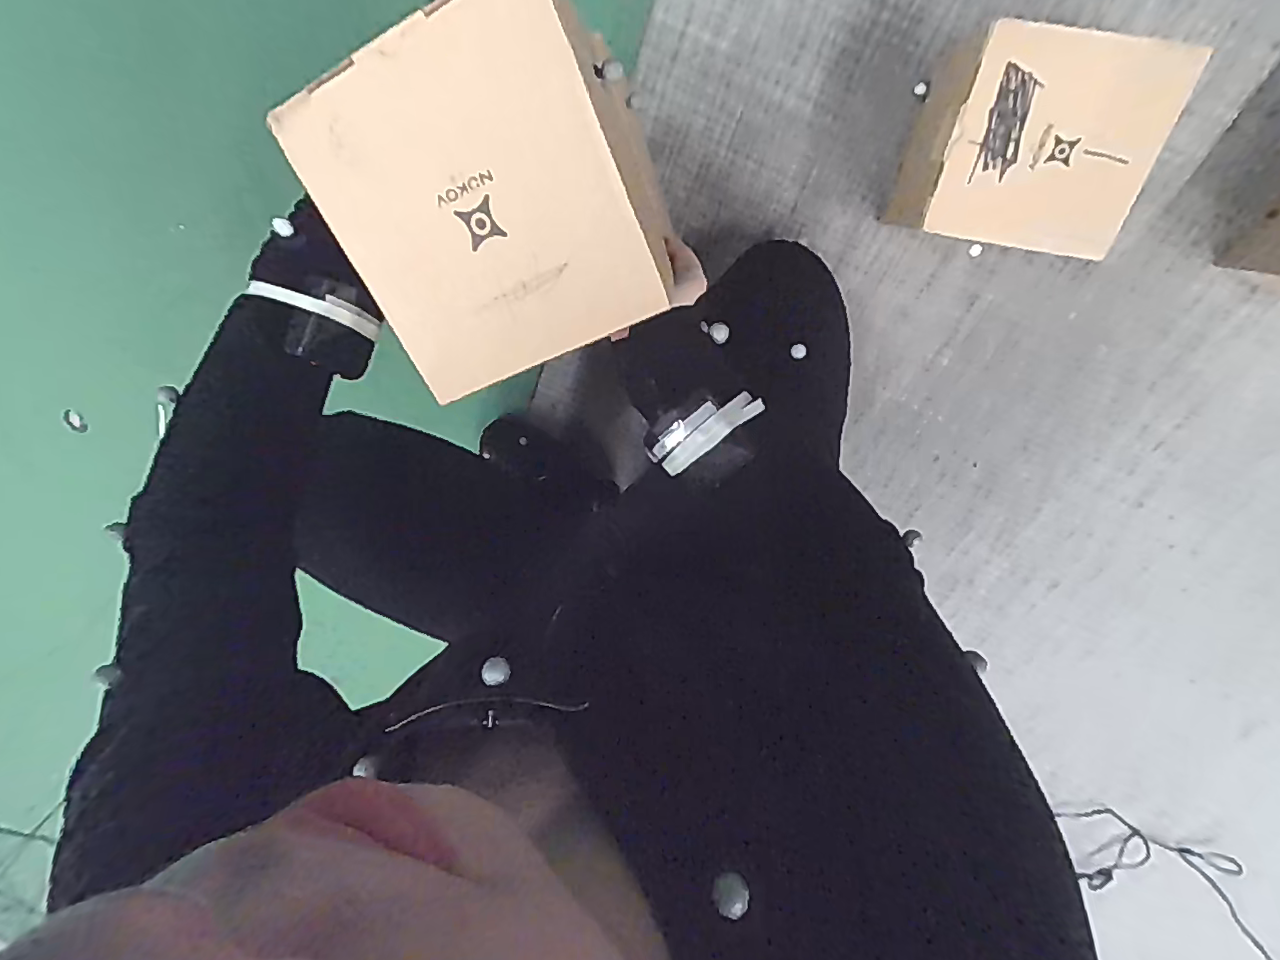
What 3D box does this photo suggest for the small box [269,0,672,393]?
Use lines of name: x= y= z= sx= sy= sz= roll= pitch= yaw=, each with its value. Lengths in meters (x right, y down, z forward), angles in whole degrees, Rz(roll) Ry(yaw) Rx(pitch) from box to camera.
small box: x=-0.084 y=-0.187 z=0.368 sx=0.168 sy=0.176 sz=0.179 roll=-18 pitch=115 yaw=14

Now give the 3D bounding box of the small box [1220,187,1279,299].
small box: x=0.767 y=-0.247 z=0.529 sx=0.179 sy=0.176 sz=0.168 roll=23 pitch=118 yaw=-2

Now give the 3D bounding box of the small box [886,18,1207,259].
small box: x=0.380 y=-0.334 z=0.554 sx=0.179 sy=0.176 sz=0.168 roll=12 pitch=119 yaw=3
